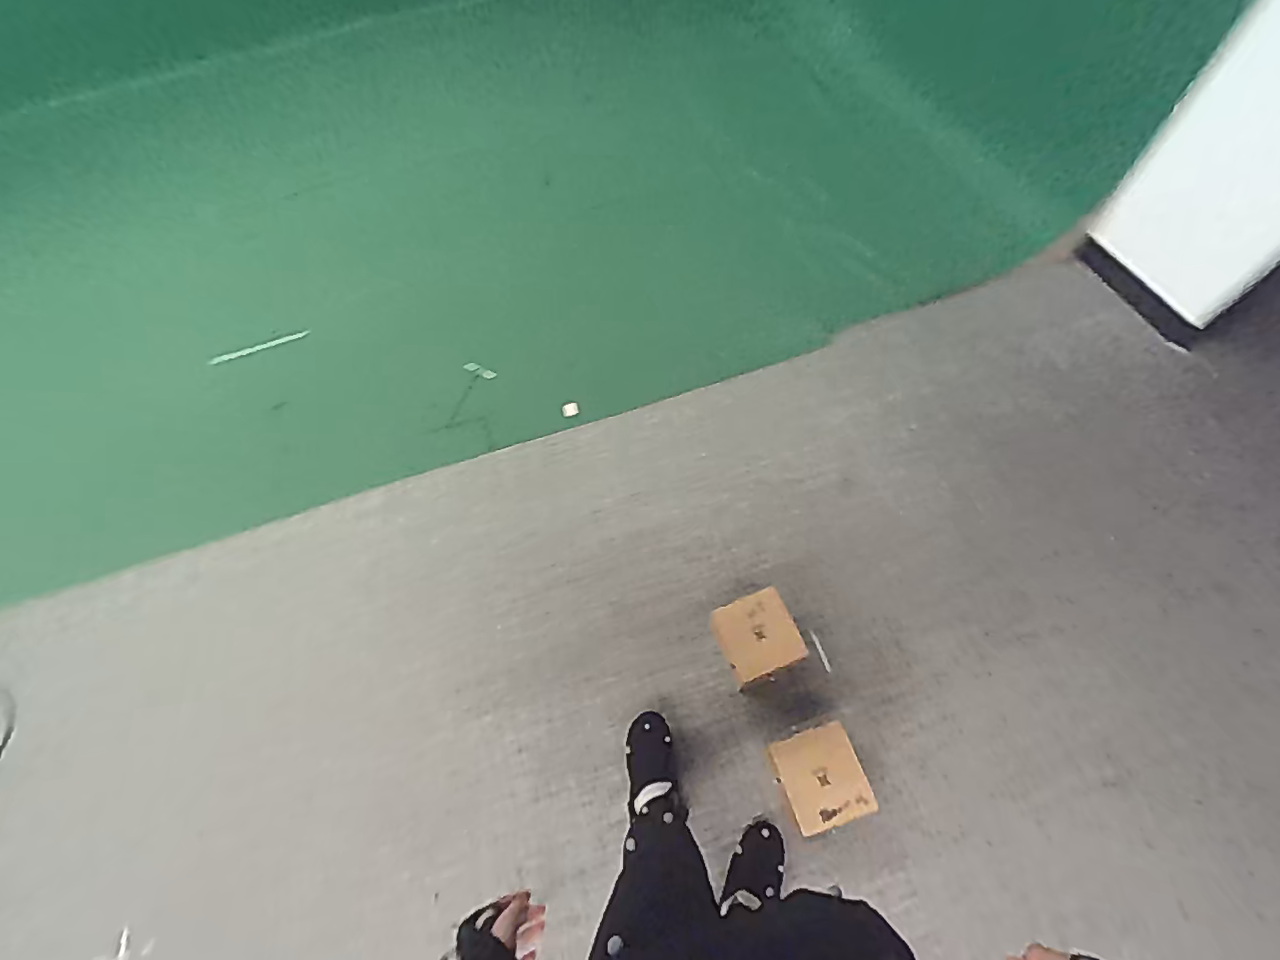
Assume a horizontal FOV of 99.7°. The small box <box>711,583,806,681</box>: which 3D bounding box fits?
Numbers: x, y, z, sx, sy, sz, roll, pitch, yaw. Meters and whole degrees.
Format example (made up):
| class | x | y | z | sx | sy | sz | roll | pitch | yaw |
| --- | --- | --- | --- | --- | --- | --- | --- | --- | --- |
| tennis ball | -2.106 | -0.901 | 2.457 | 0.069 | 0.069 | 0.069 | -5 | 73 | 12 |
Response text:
| class | x | y | z | sx | sy | sz | roll | pitch | yaw |
| --- | --- | --- | --- | --- | --- | --- | --- | --- | --- |
| small box | 0.283 | 0.380 | 1.326 | 0.168 | 0.176 | 0.179 | -21 | 62 | -5 |
